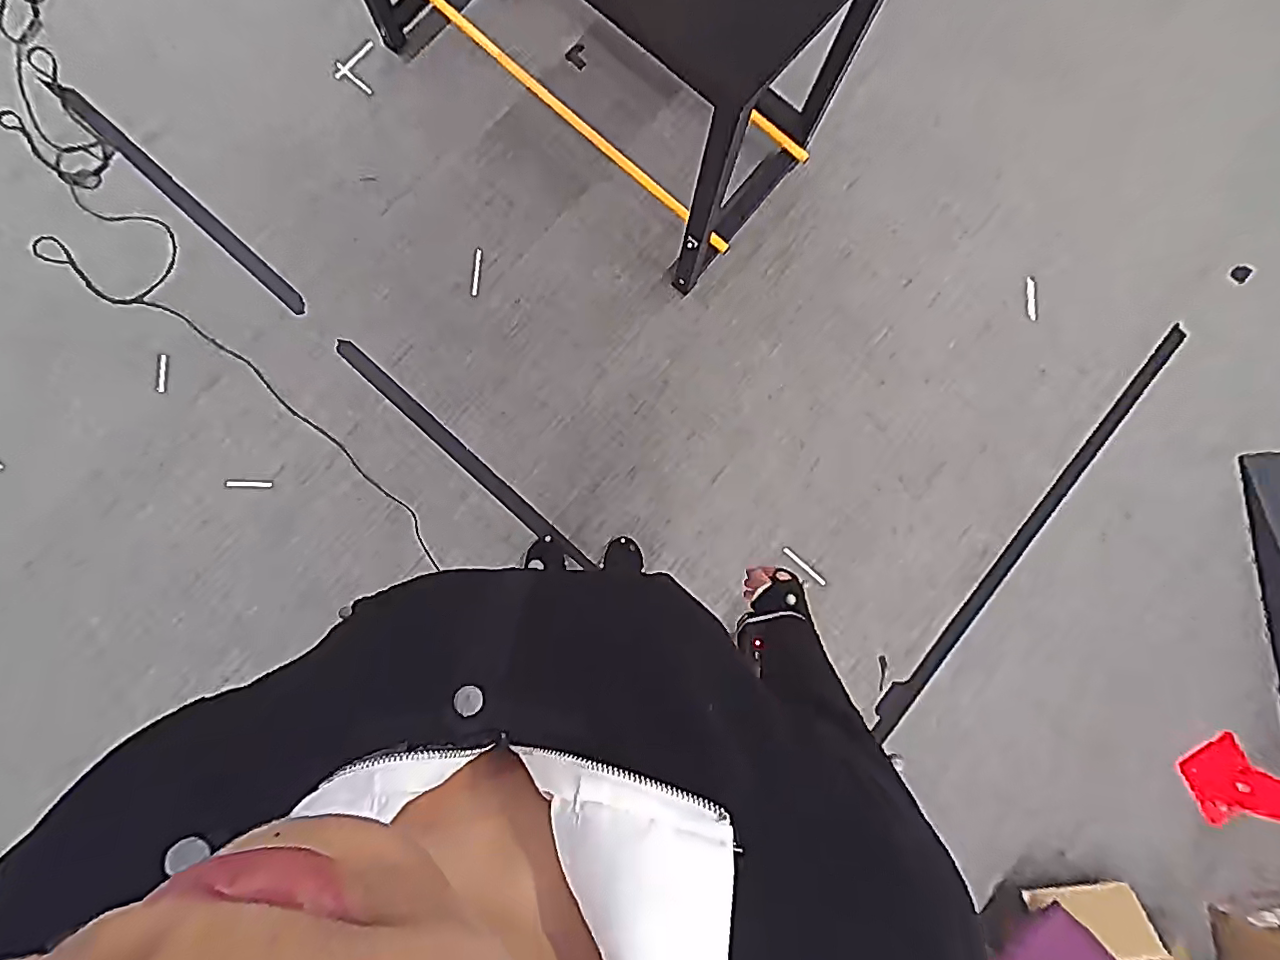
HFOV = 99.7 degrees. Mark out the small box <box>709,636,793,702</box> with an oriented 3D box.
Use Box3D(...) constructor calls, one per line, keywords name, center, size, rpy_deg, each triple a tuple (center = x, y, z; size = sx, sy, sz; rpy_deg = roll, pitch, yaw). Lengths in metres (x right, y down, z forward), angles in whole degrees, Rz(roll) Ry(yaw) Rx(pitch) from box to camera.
Box3D(name="small box", center=(0.302, 0.529, 1.413), size=(0.179, 0.176, 0.168), rpy_deg=(34, 83, 2))
